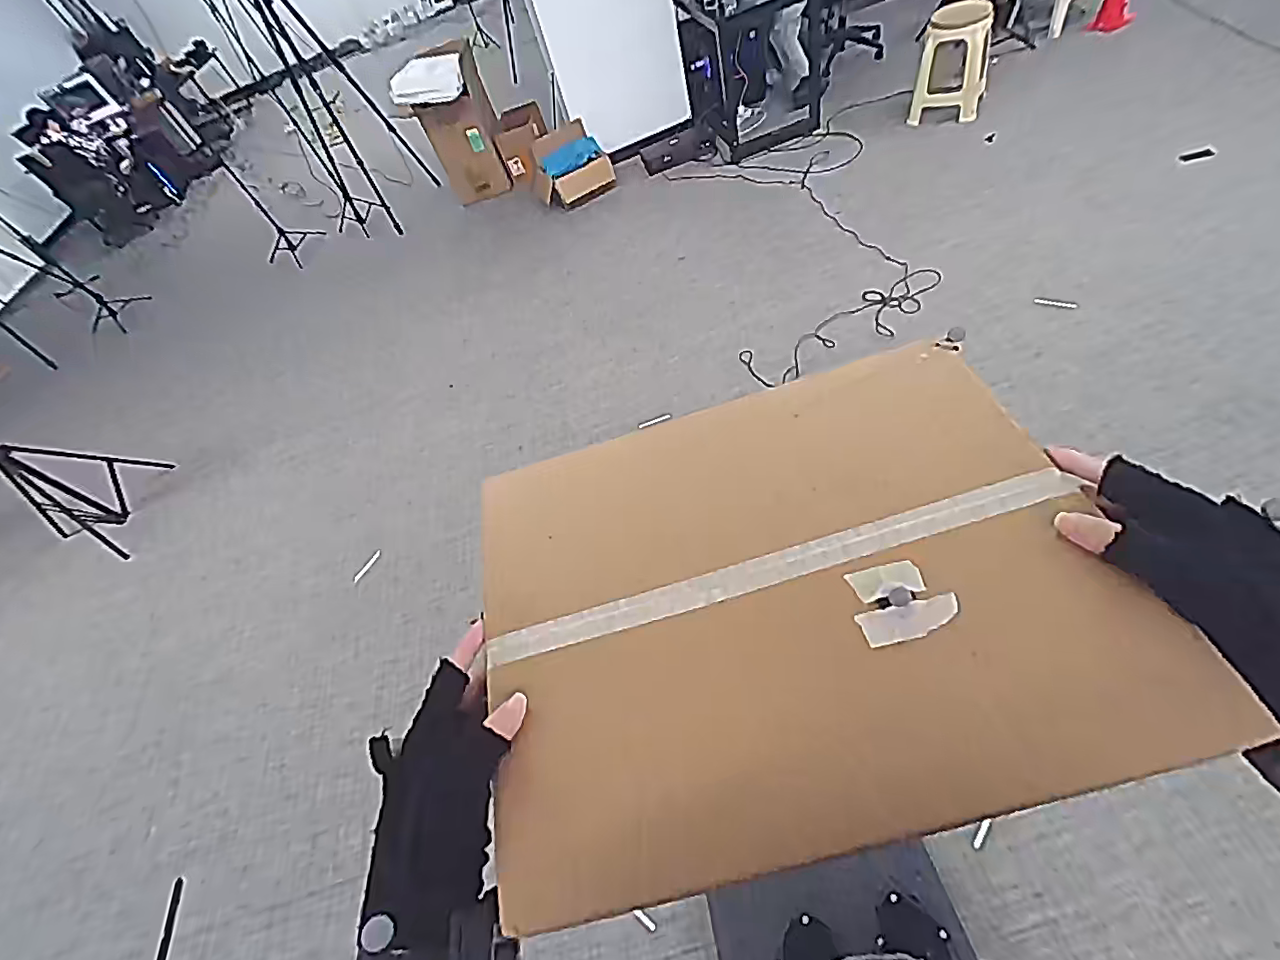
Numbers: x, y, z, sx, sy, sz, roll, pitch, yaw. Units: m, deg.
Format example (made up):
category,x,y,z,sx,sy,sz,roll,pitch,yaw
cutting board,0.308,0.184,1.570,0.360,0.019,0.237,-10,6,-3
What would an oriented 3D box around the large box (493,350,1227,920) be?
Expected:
category,x,y,z,sx,sy,sz,roll,pitch,yaw
large box,0.121,0.149,0.499,0.408,0.320,0.320,-17,54,3
